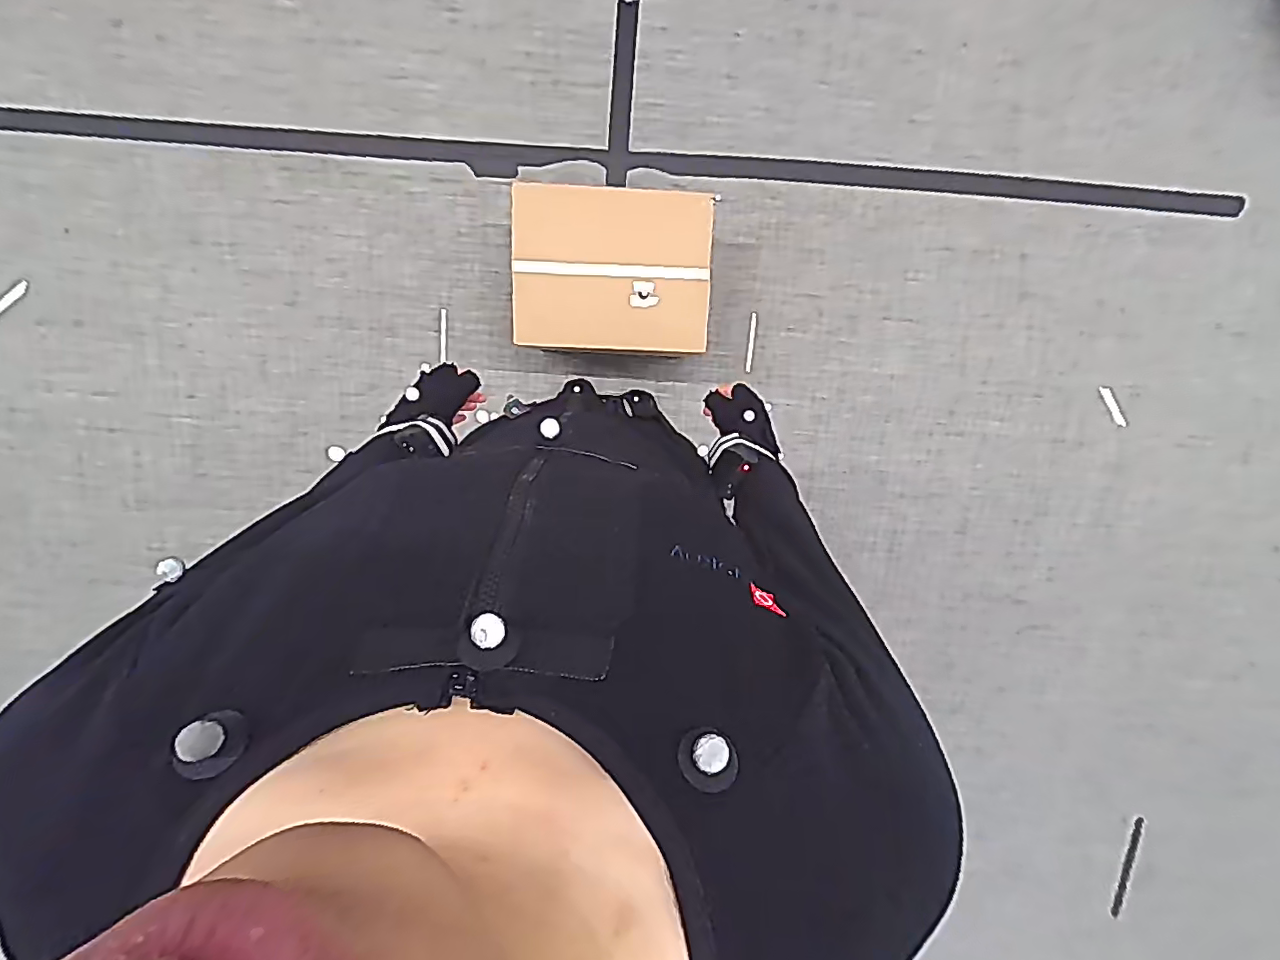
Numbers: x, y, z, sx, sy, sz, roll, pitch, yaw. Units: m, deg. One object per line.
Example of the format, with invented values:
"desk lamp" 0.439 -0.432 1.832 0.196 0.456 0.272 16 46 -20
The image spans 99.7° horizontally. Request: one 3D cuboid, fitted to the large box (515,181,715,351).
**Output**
"large box" -0.060 -0.463 1.243 0.408 0.320 0.320 1 102 -3
